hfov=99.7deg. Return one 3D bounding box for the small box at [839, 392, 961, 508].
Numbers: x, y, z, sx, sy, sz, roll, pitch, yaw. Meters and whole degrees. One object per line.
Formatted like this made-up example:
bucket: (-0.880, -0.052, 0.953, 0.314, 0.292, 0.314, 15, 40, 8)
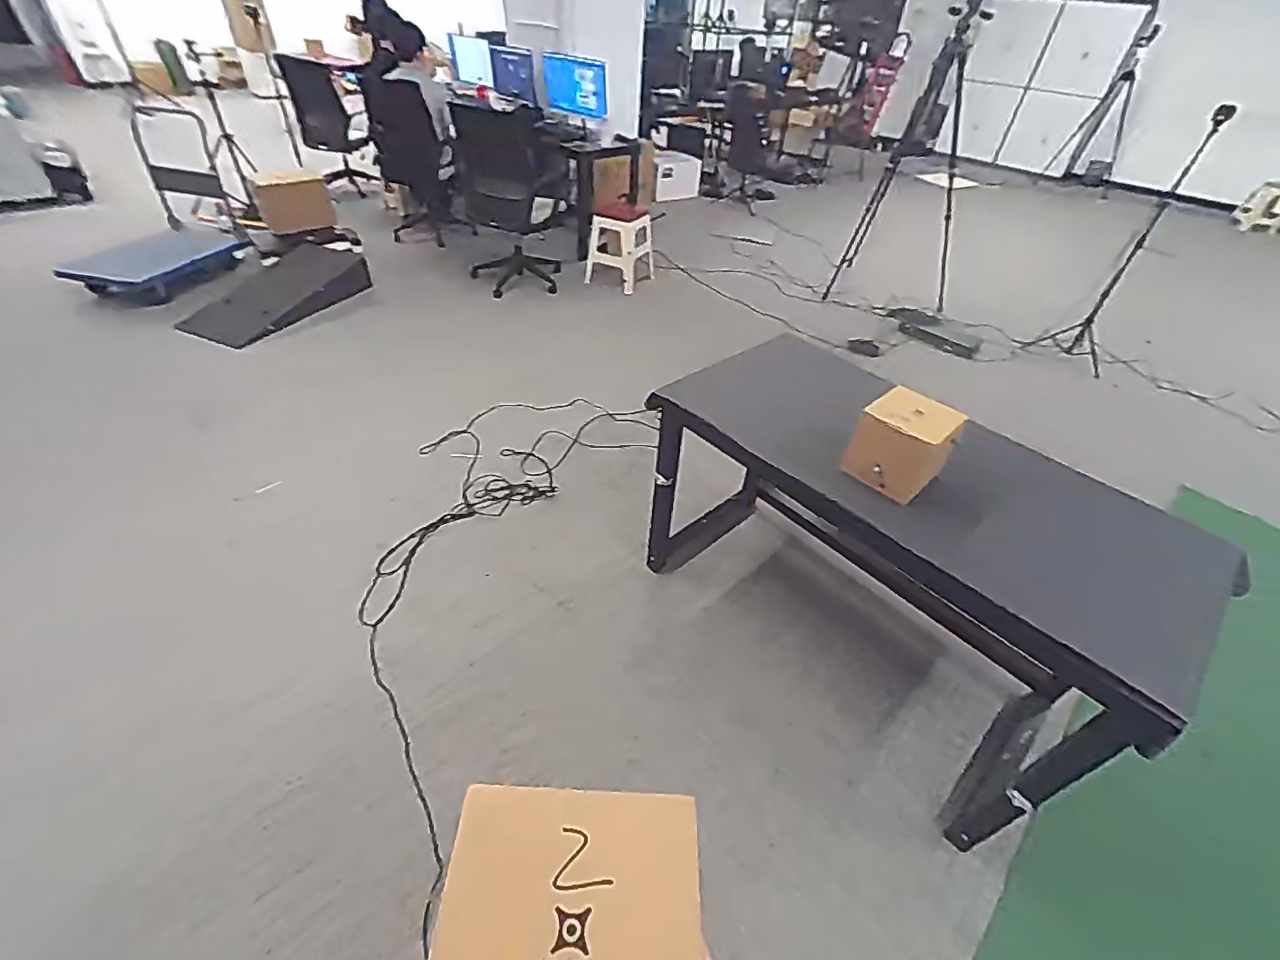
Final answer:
small box: (0.580, -0.069, 1.227, 0.179, 0.176, 0.168, -30, 51, -34)
